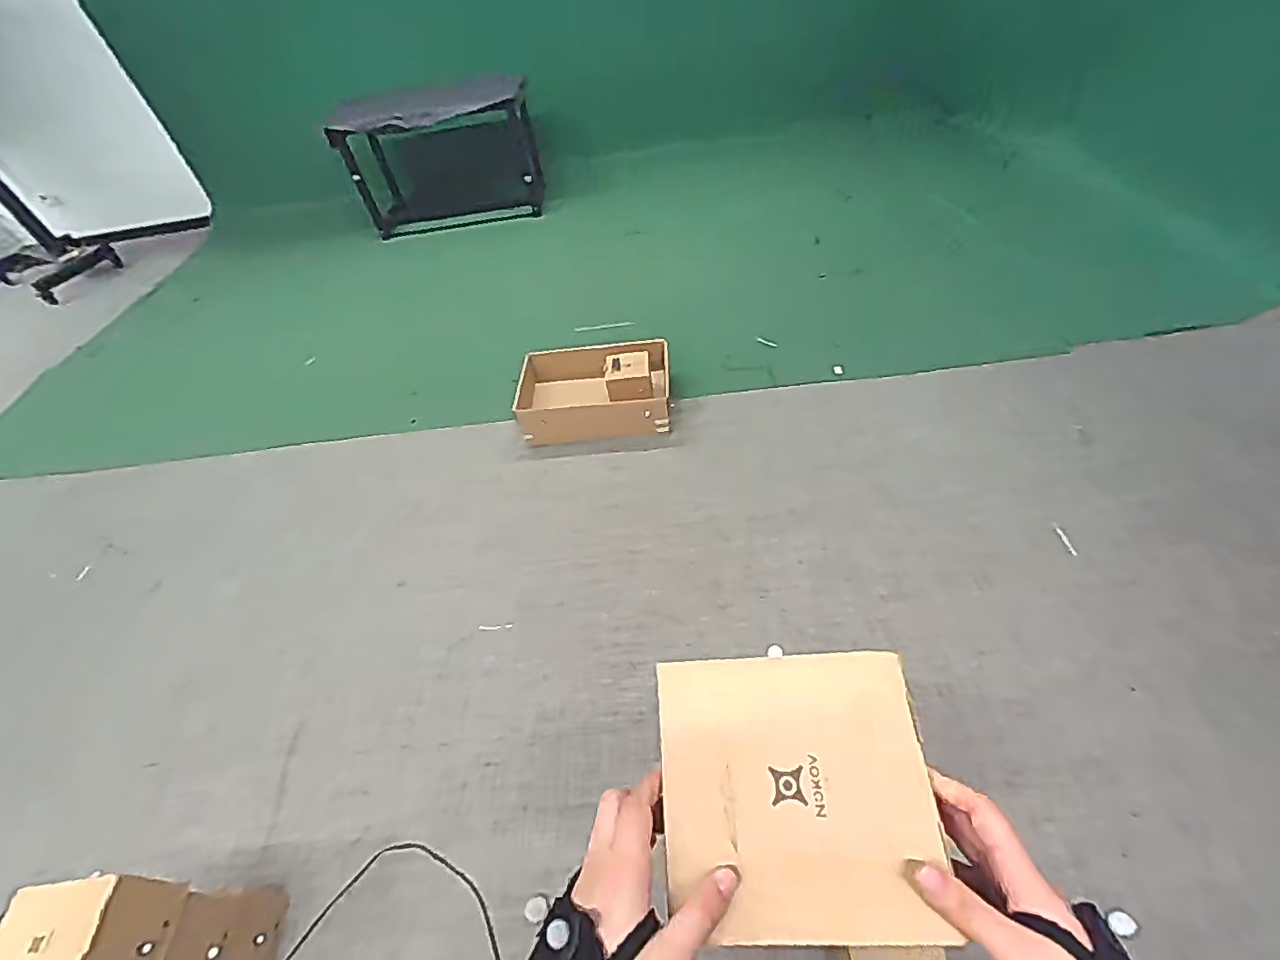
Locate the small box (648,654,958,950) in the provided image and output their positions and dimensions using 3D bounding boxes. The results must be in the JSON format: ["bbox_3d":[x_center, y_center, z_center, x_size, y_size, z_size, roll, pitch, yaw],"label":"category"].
[{"bbox_3d":[0.105,0.239,0.421,0.179,0.176,0.168,-6,59,7],"label":"small box"}]

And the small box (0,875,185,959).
[{"bbox_3d":[-0.941,0.791,0.912,0.179,0.176,0.168,-9,47,0],"label":"small box"}]

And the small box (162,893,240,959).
[{"bbox_3d":[-0.924,0.905,1.026,0.179,0.176,0.168,-9,47,1],"label":"small box"}]

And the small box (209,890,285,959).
[{"bbox_3d":[-0.908,1.003,1.157,0.179,0.176,0.168,-12,46,-1],"label":"small box"}]
